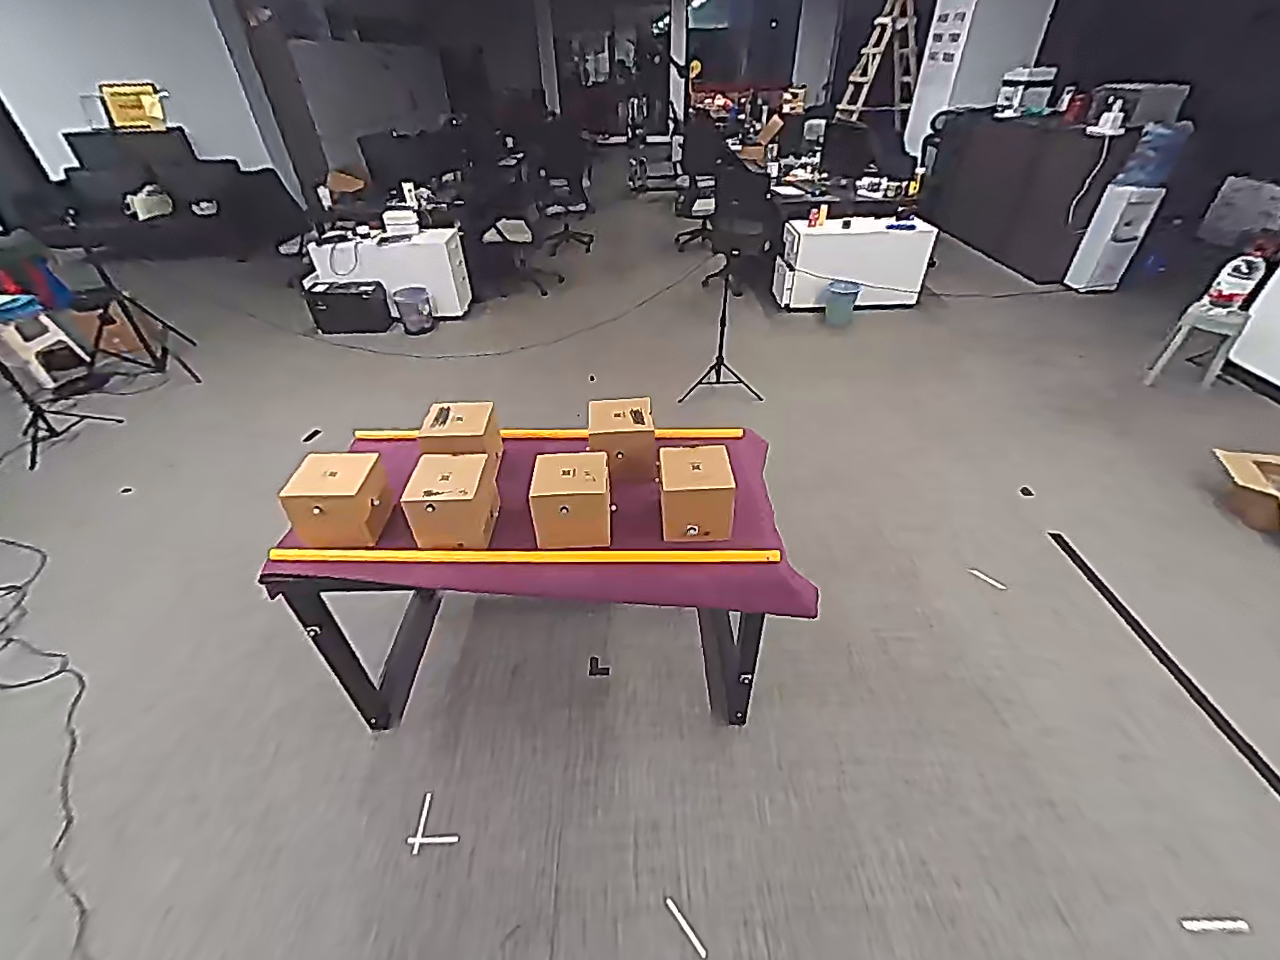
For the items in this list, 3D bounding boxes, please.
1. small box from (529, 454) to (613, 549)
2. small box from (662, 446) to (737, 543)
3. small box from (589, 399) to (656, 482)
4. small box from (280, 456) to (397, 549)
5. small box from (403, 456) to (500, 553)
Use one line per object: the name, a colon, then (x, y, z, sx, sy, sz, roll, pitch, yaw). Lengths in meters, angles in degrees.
small box: (-0.160, 0.054, 1.311, 0.179, 0.176, 0.168, -2, 37, -1)
small box: (0.138, 0.035, 1.321, 0.168, 0.176, 0.179, -3, 36, 1)
small box: (-0.046, -0.108, 1.512, 0.179, 0.176, 0.168, -4, 39, -1)
small box: (-0.726, 0.057, 1.329, 0.179, 0.176, 0.168, -1, 38, 0)
small box: (-0.446, 0.059, 1.316, 0.168, 0.176, 0.179, -2, 38, 1)
